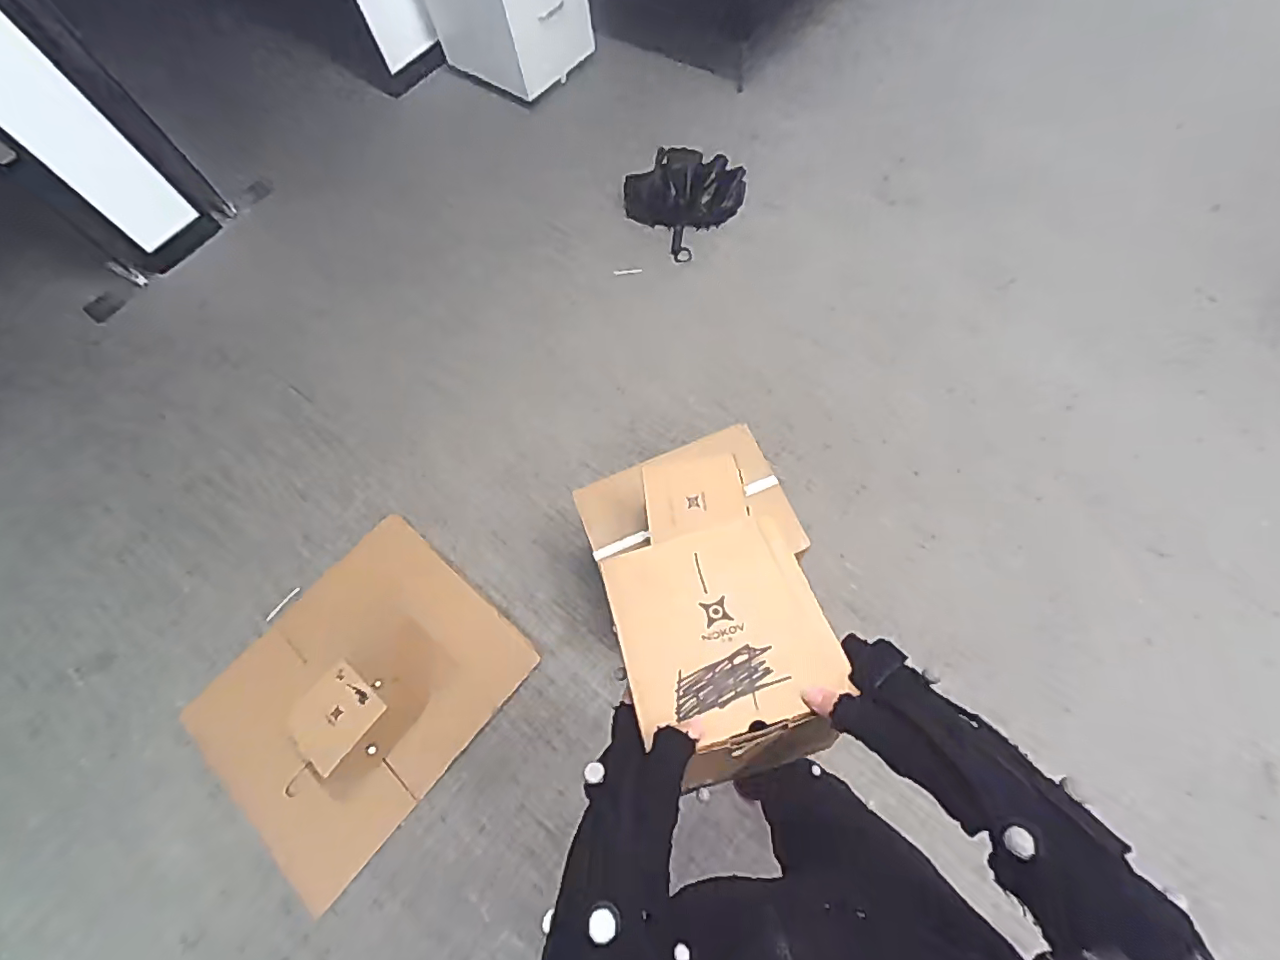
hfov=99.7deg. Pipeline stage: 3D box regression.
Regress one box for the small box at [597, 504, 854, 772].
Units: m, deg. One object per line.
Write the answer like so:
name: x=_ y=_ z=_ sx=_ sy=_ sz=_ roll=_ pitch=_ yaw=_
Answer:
small box: x=0.074 y=0.158 z=0.514 sx=0.168 sy=0.176 sz=0.179 roll=-20 pitch=53 yaw=-5

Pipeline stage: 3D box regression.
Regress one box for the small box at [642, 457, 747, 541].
small box: x=0.107 y=0.076 z=1.017 sx=0.179 sy=0.176 sz=0.168 roll=-9 pitch=64 yaw=3

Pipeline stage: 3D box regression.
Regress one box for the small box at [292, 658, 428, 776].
small box: x=-0.619 y=0.532 z=1.220 sx=0.168 sy=0.176 sz=0.179 roll=31 pitch=74 yaw=21
